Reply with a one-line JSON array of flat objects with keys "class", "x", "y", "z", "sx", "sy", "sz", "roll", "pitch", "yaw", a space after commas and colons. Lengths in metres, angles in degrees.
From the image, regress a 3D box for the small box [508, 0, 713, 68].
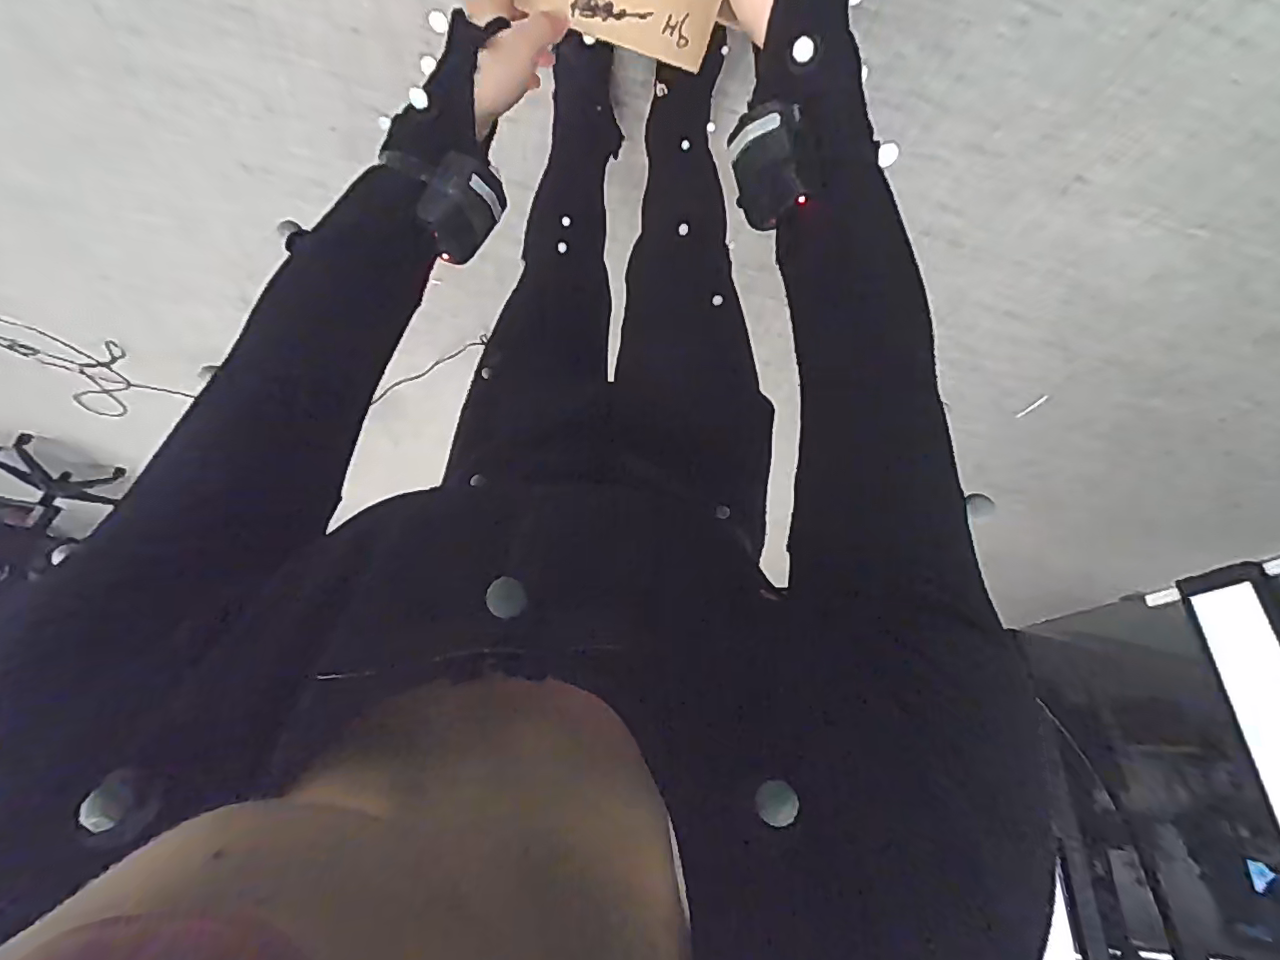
[{"class": "small box", "x": -0.006, "y": -0.486, "z": 0.430, "sx": 0.168, "sy": 0.176, "sz": 0.179, "roll": 11, "pitch": 148, "yaw": -10}]
